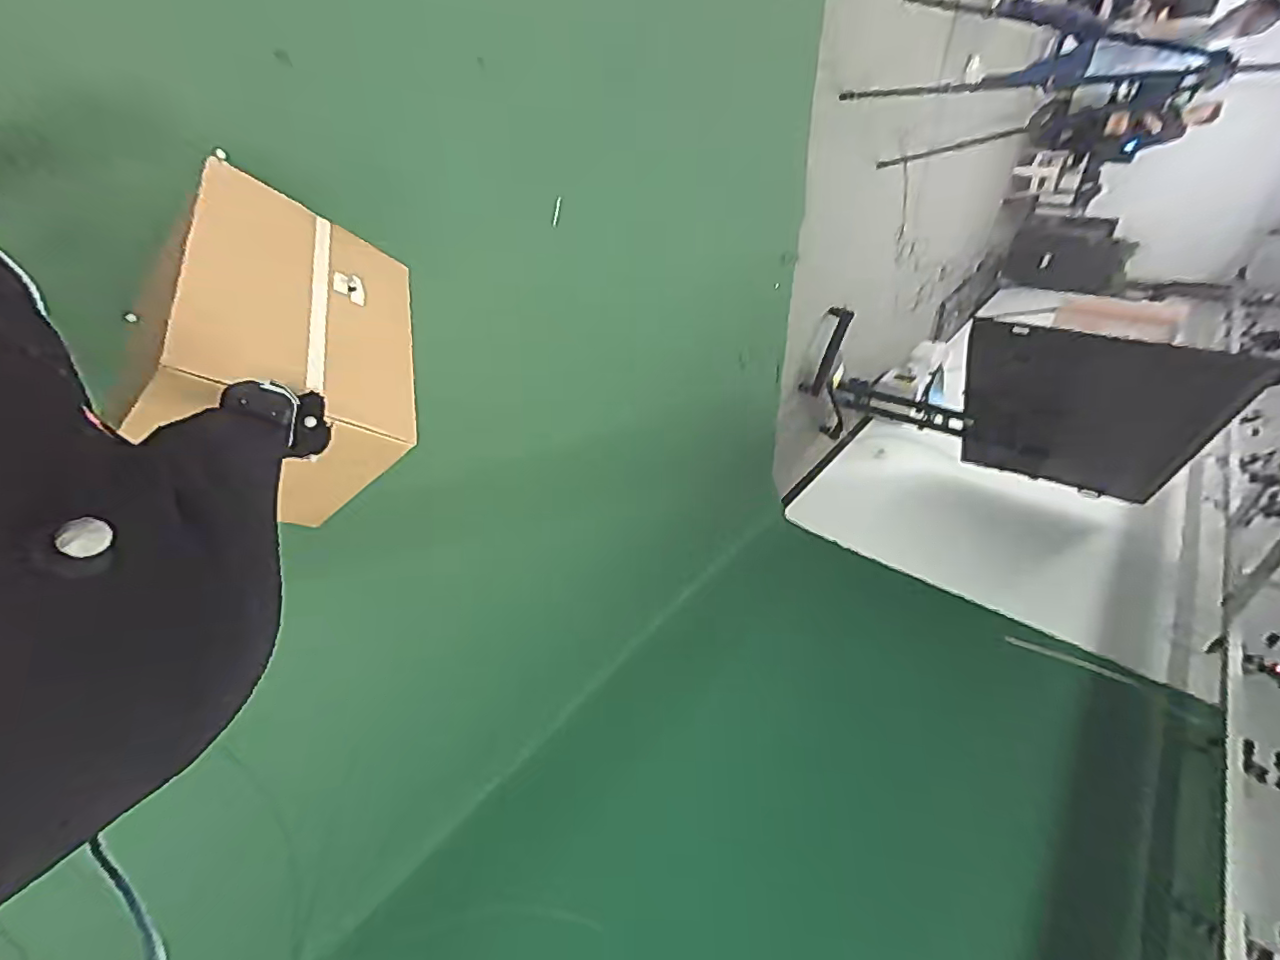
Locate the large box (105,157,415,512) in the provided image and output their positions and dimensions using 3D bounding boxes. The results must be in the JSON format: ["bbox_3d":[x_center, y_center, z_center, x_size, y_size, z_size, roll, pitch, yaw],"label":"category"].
[{"bbox_3d":[-0.607,-0.203,0.892,0.320,0.408,0.320,-31,150,28],"label":"large box"}]
